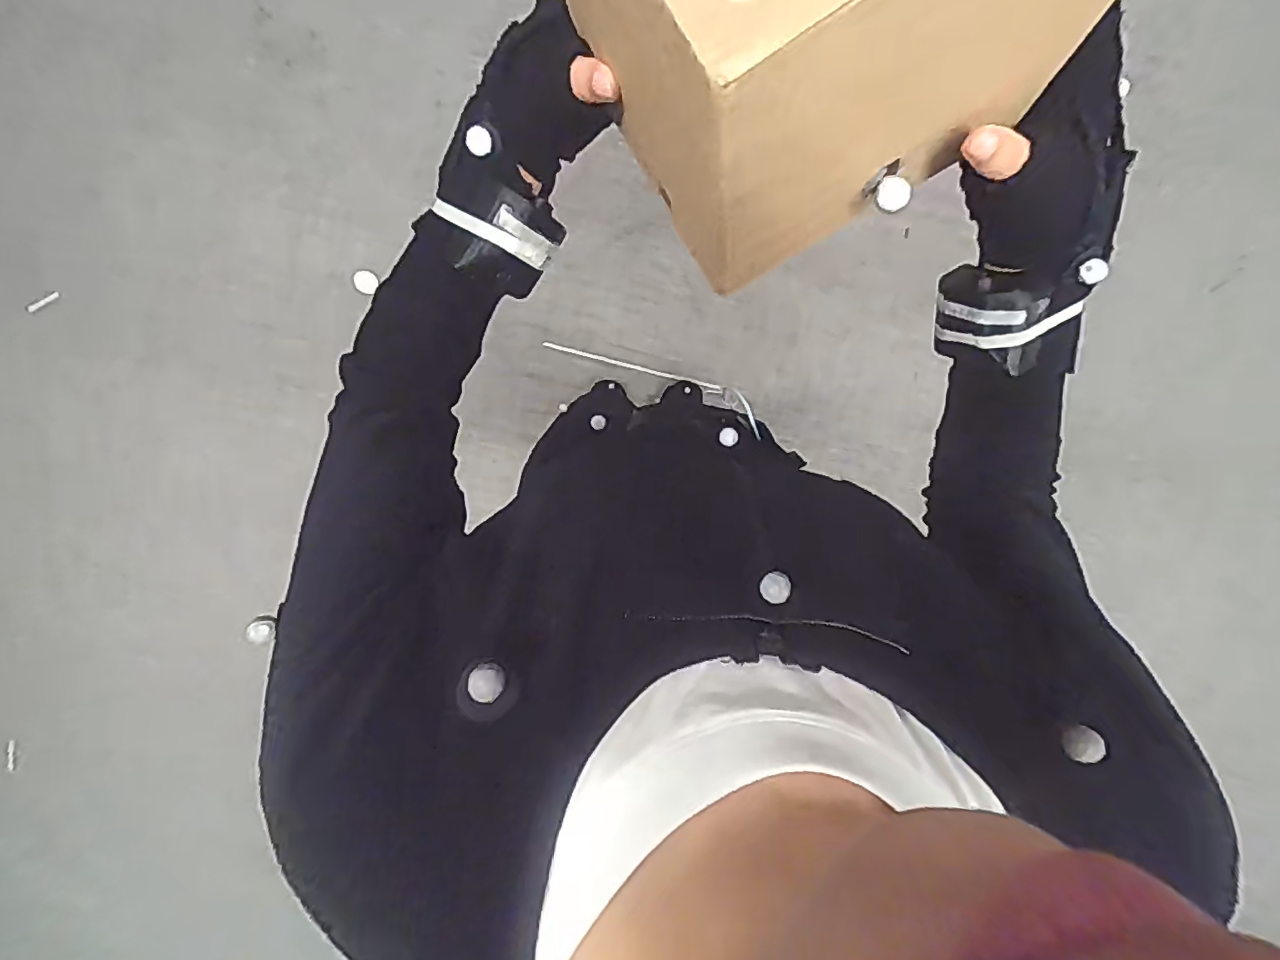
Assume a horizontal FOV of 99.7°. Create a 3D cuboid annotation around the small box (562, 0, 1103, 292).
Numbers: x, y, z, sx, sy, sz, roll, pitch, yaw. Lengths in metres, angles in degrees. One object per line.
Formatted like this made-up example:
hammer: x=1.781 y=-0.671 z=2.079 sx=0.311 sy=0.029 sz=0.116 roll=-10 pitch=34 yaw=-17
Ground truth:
small box: x=0.066 y=-0.212 z=0.221 sx=0.179 sy=0.176 sz=0.168 roll=-29 pitch=85 yaw=6
